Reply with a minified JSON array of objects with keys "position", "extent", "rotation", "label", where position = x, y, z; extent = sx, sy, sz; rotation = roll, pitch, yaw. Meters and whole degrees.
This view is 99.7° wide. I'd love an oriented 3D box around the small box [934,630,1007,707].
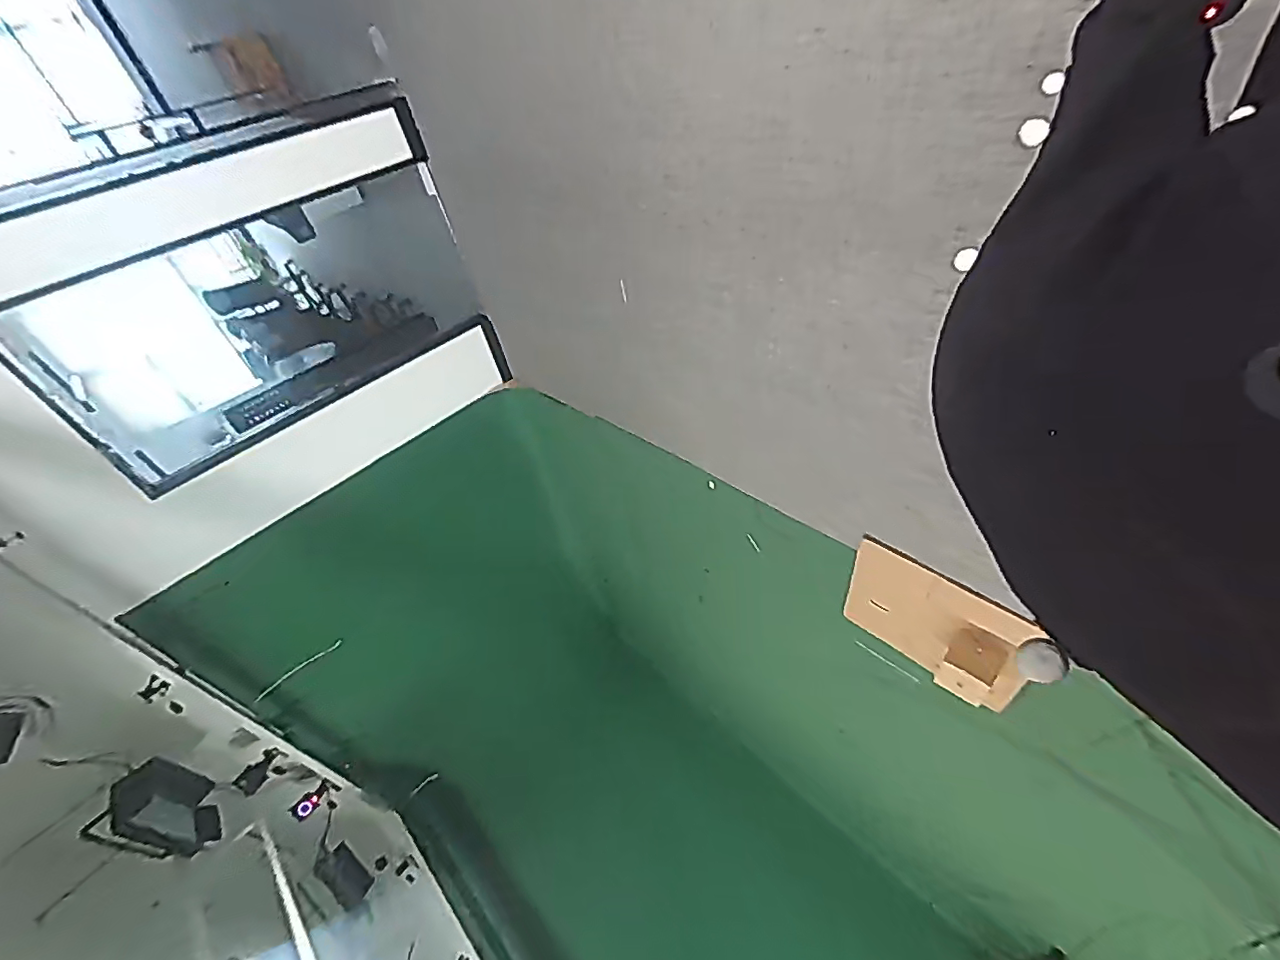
[{"position":[1.237,0.704,2.024],"extent":[0.168,0.176,0.179],"rotation":[29,146,35],"label":"small box"}]
